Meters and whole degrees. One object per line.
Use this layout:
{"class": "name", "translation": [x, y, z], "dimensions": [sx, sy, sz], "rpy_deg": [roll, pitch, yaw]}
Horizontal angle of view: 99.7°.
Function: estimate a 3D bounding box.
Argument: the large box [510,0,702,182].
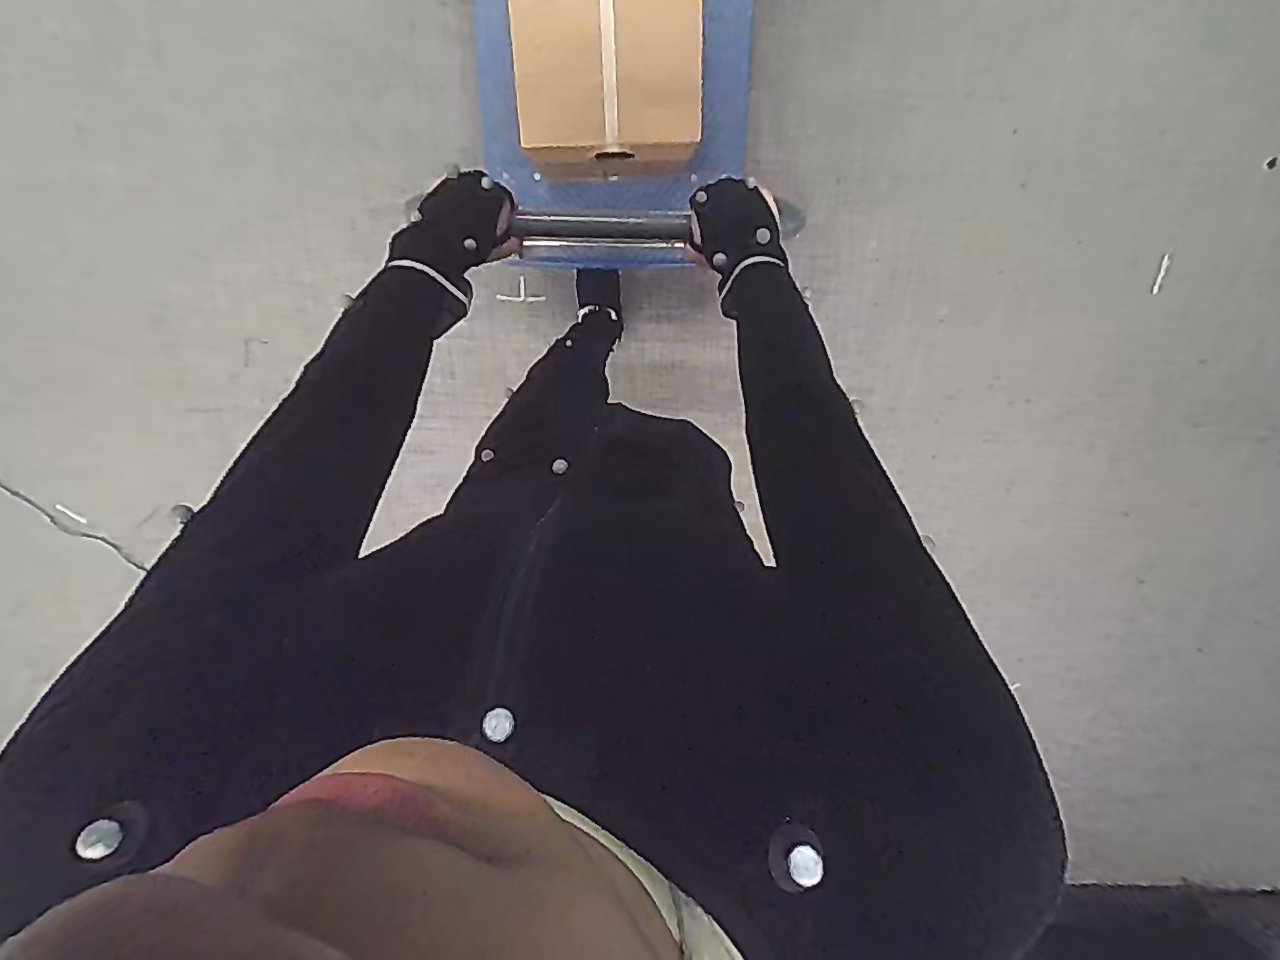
{"class": "large box", "translation": [-0.055, -0.818, 1.015], "dimensions": [0.320, 0.320, 0.408], "rpy_deg": [-2, 110, 0]}
